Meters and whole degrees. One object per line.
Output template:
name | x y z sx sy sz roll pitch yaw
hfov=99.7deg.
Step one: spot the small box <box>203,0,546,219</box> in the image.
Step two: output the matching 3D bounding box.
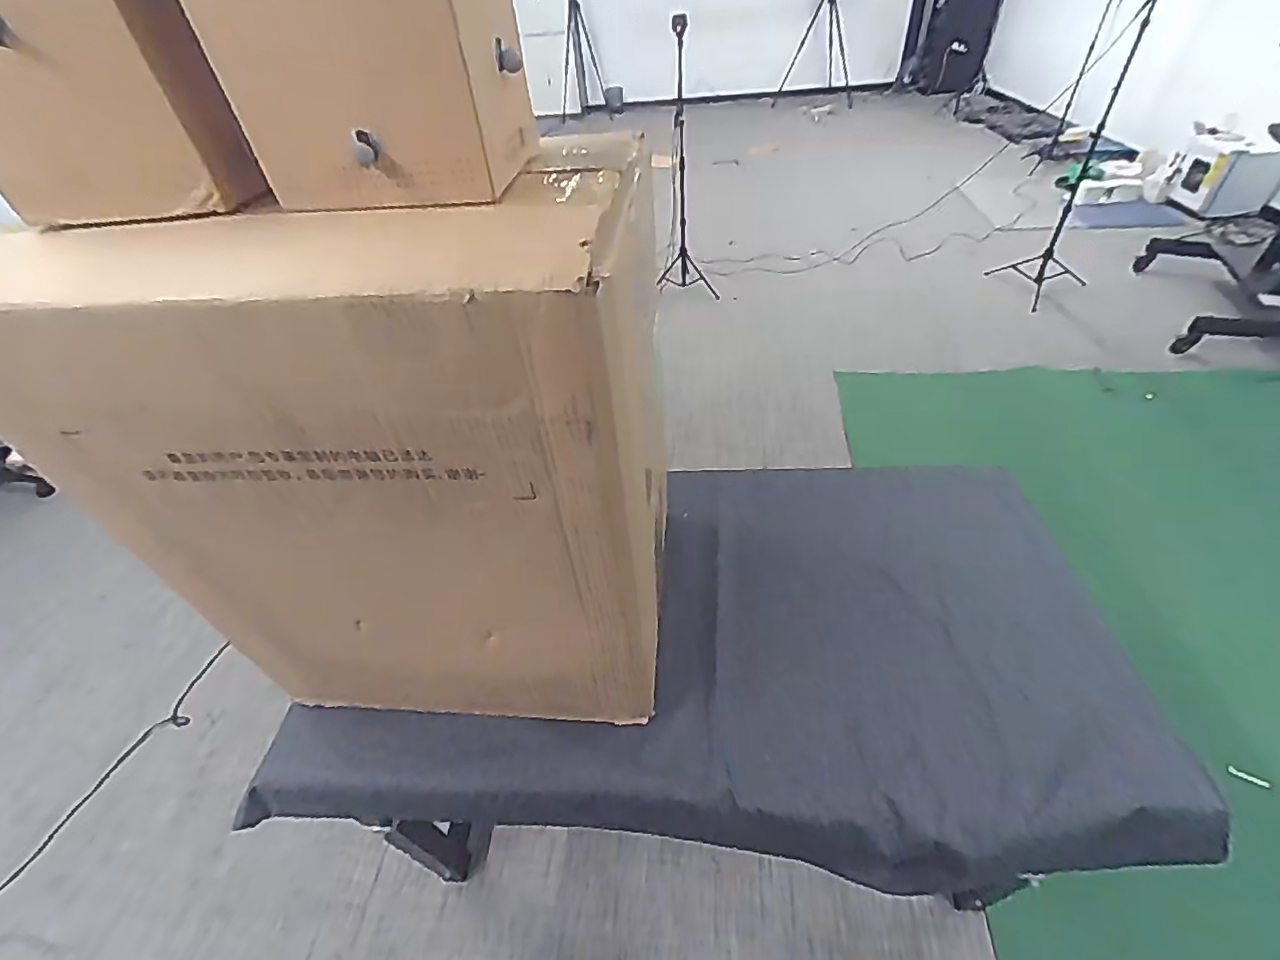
small box | -0.182 -0.322 0.426 0.179 0.176 0.168 -1 43 6
